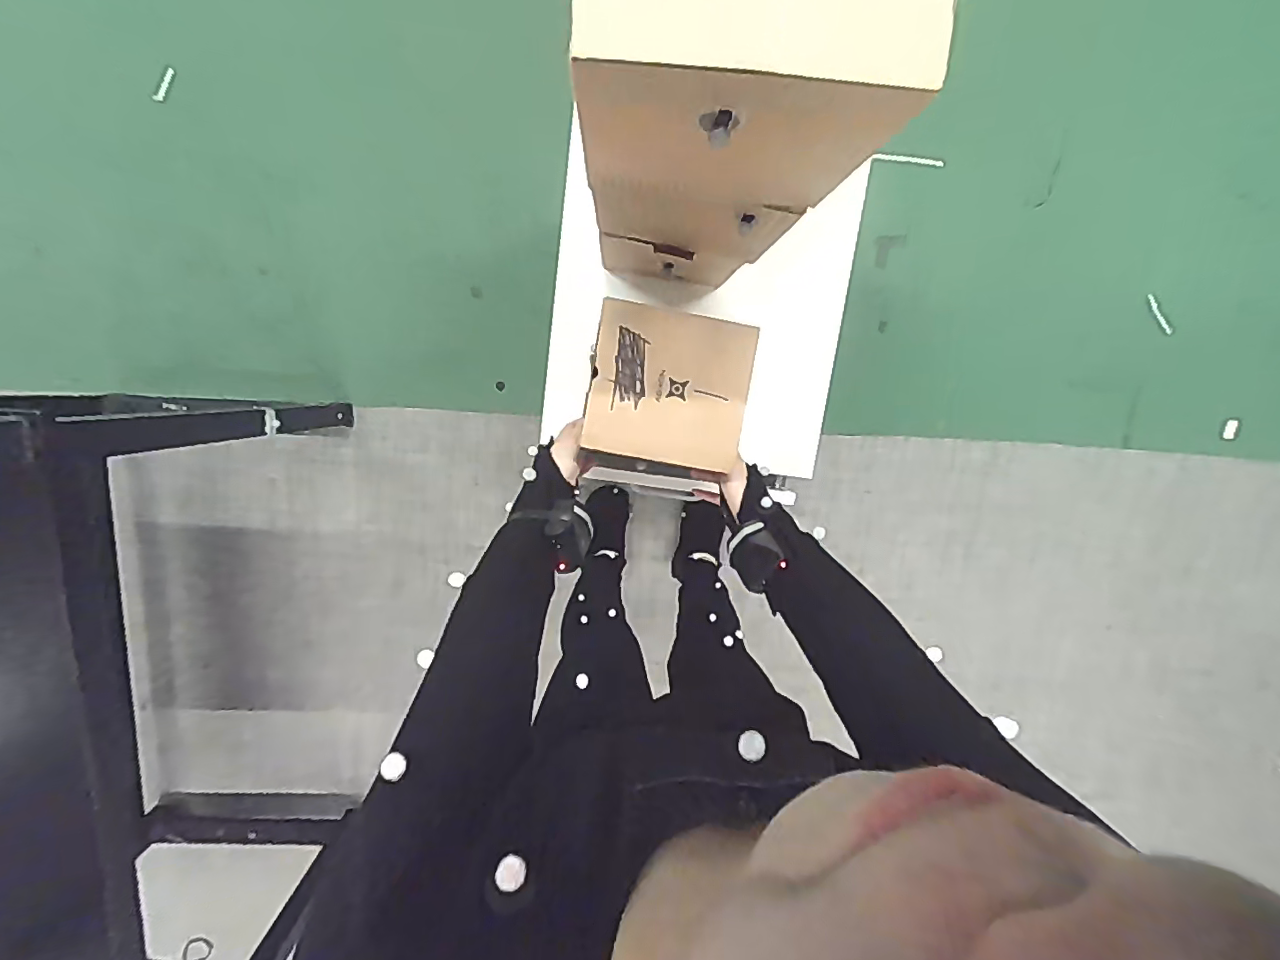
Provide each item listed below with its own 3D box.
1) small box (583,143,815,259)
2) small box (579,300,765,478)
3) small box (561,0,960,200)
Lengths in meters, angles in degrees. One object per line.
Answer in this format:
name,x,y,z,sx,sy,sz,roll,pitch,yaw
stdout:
small box,0.054,-0.306,0.466,0.179,0.176,0.168,10,99,-4
small box,0.030,-0.098,0.654,0.179,0.176,0.168,10,92,-4
small box,0.054,-0.274,0.305,0.179,0.176,0.168,3,100,-3
